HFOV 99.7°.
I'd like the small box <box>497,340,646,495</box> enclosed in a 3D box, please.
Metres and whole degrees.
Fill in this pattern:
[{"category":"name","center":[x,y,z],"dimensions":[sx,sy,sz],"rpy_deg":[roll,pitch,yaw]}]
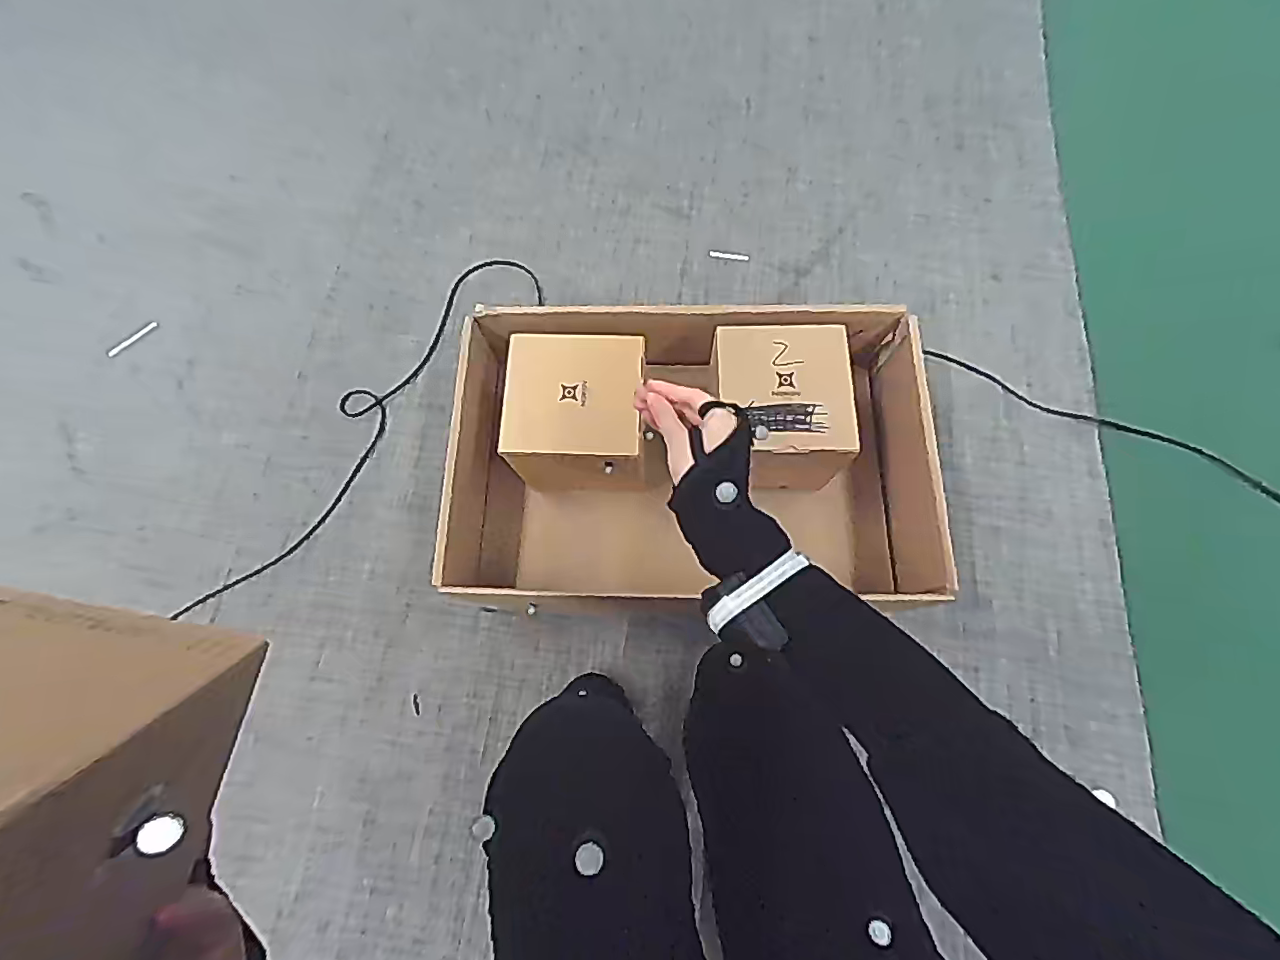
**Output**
[{"category":"small box","center":[-0.083,-0.079,0.754],"dimensions":[0.179,0.176,0.168],"rpy_deg":[1,73,1]}]

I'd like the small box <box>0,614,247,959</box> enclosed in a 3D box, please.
[{"category":"small box","center":[-0.271,0.149,0.177],"dimensions":[0.168,0.176,0.179],"rpy_deg":[18,85,-13]}]
